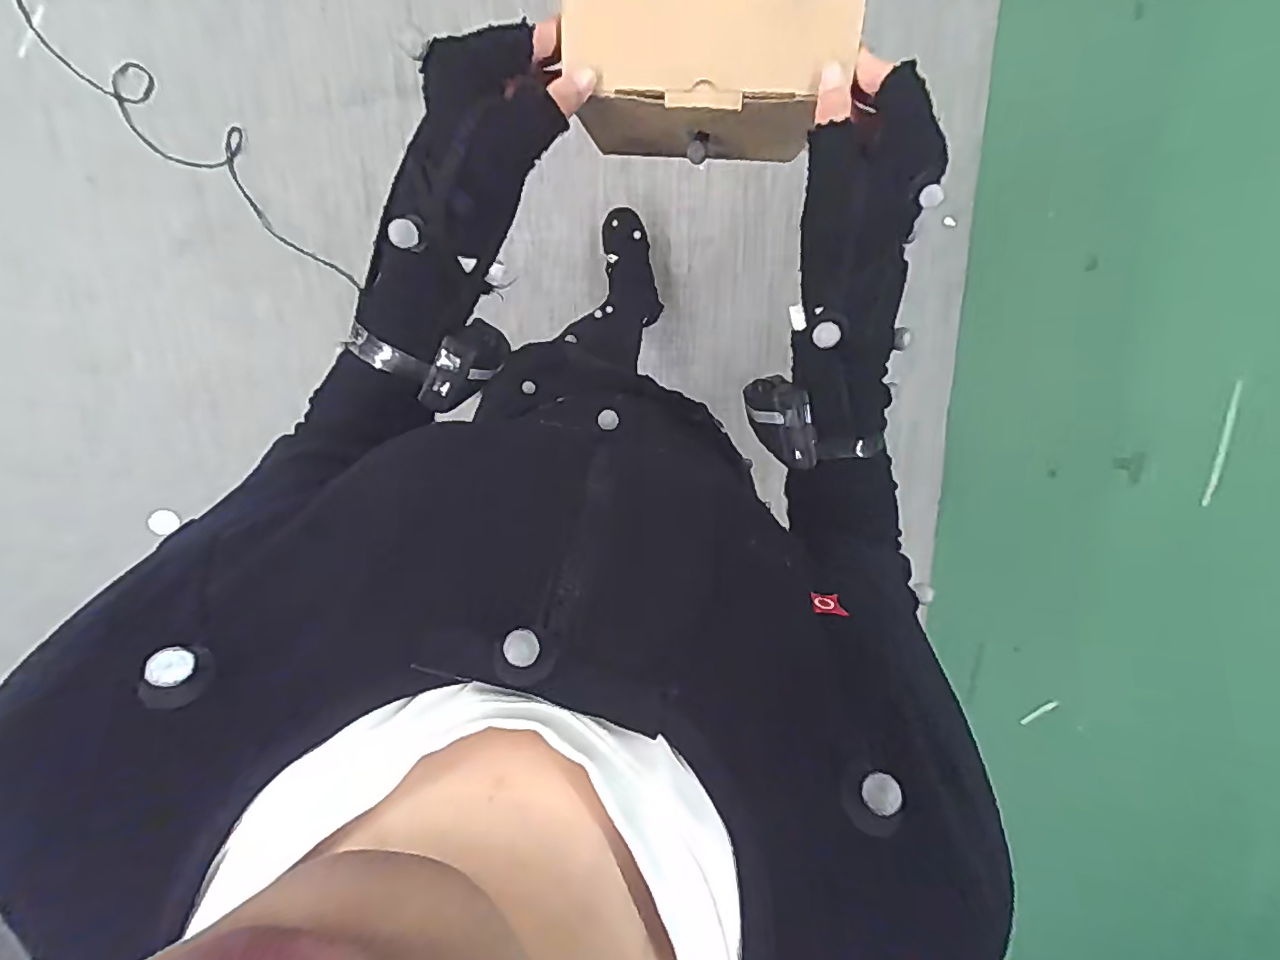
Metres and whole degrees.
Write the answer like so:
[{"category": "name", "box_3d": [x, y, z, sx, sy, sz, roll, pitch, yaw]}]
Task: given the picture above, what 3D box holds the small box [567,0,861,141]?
[{"category": "small box", "box_3d": [0.049, -0.338, 0.354, 0.168, 0.176, 0.179, 4, 112, 3]}]
